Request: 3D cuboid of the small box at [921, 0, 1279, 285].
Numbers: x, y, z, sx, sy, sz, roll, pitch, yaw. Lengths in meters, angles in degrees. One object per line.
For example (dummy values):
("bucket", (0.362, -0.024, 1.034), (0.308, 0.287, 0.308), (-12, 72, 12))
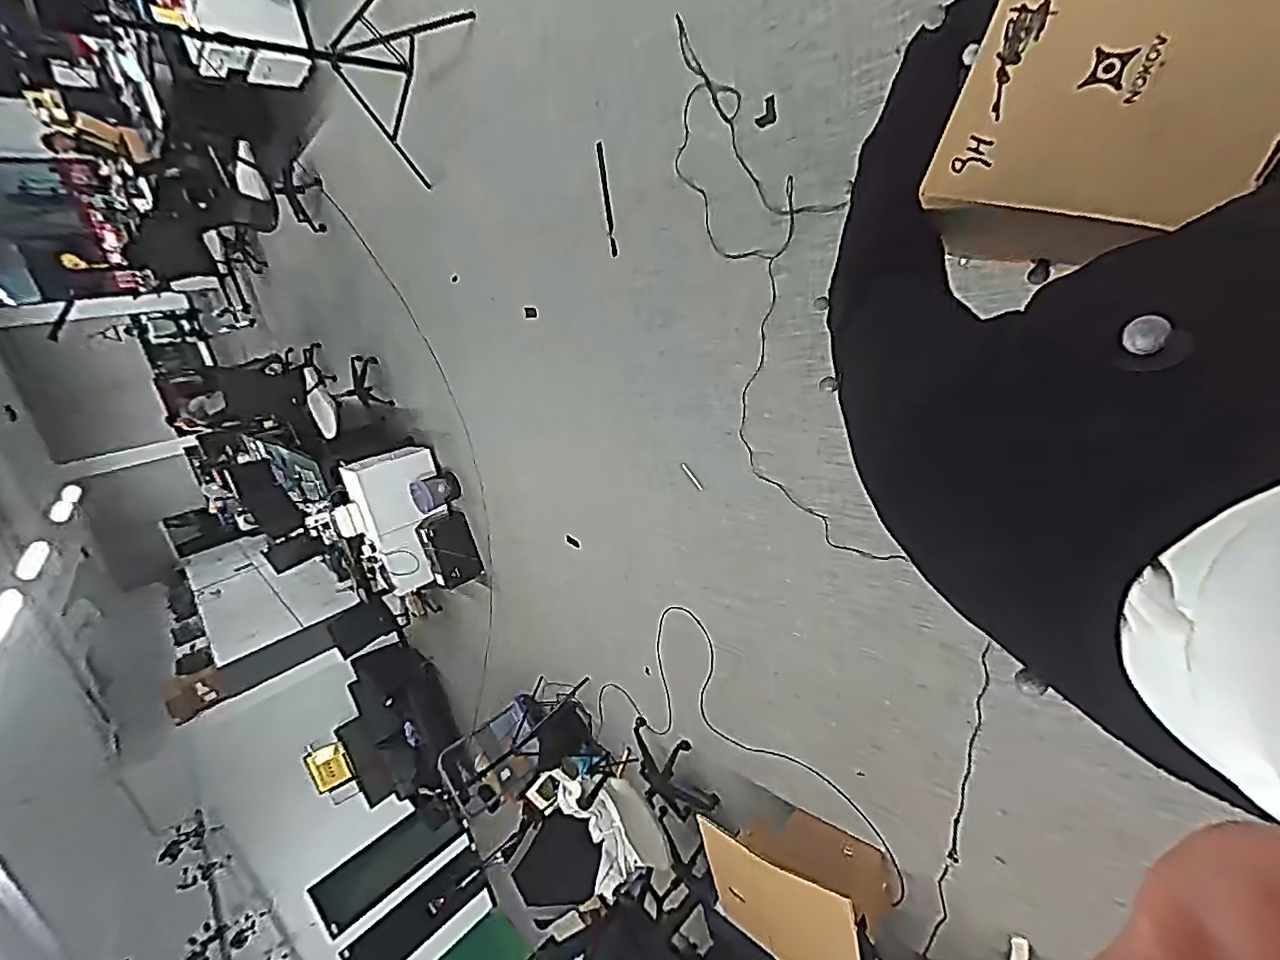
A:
("small box", (0.341, -0.255, 0.399), (0.179, 0.176, 0.168), (28, 109, 29))
